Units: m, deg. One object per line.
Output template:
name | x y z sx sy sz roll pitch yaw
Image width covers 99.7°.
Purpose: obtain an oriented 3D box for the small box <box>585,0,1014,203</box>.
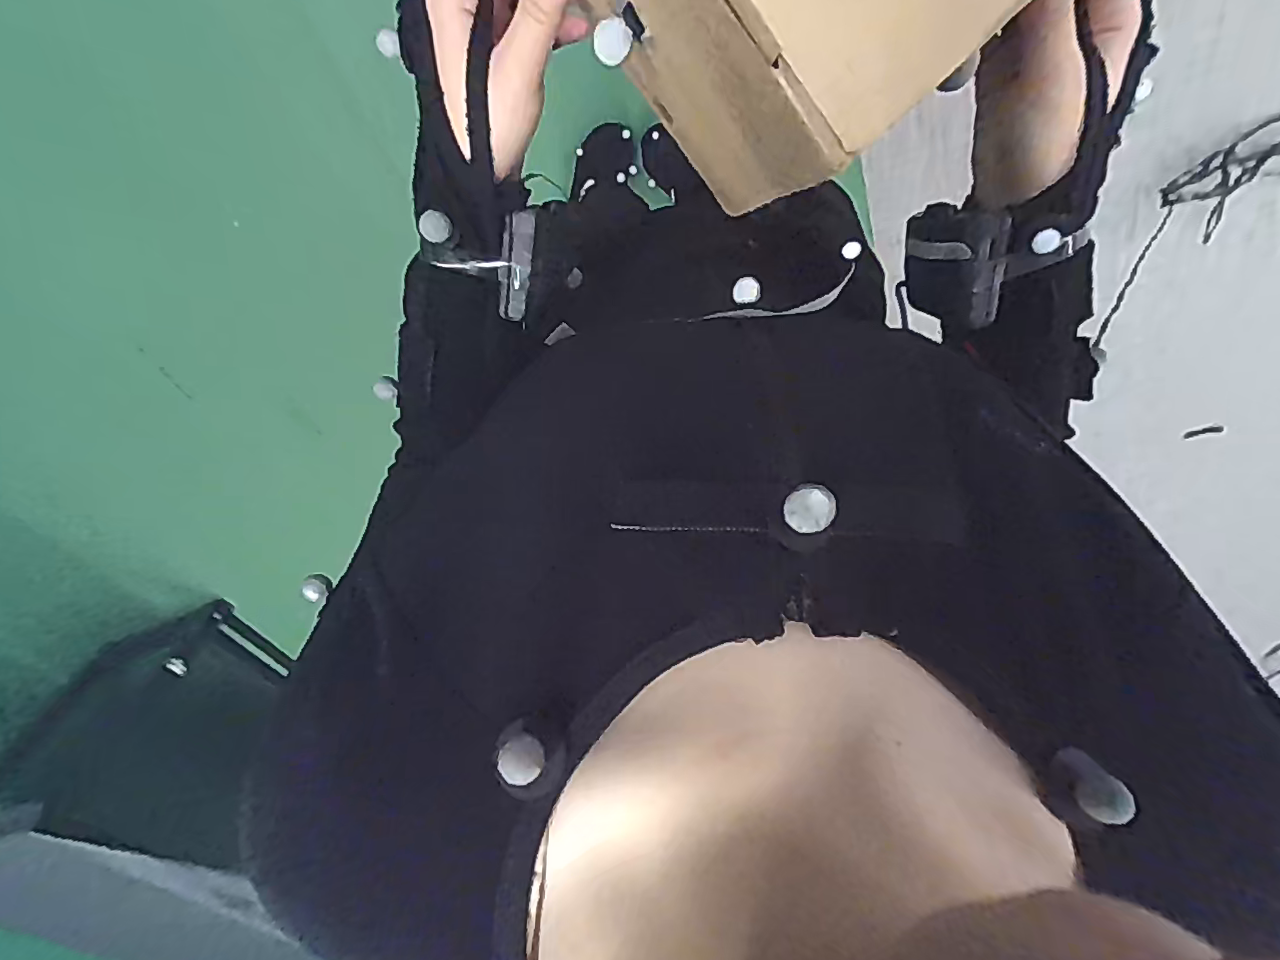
small box | 0.061 -0.219 0.175 0.179 0.176 0.168 -38 107 15
